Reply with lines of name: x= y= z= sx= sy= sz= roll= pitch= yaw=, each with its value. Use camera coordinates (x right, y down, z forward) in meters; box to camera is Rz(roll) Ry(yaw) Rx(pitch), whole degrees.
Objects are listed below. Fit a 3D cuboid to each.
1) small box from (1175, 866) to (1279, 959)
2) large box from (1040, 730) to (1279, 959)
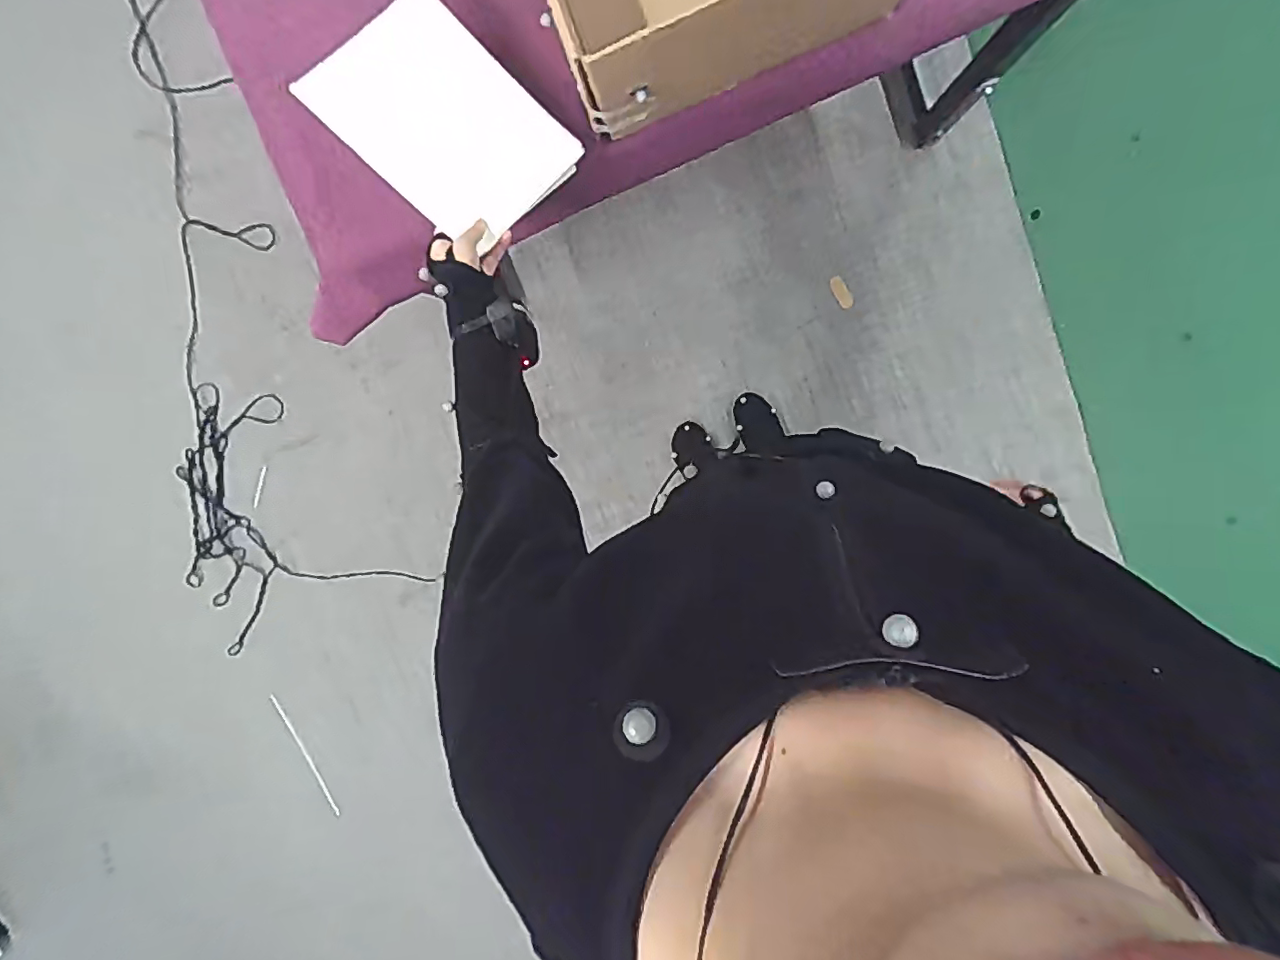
small box: x=1.322 y=0.974 z=1.158 sx=0.168 sy=0.176 sz=0.179 roll=-30 pitch=95 yaw=9
large box: x=1.382 y=0.946 z=1.398 sx=0.408 sy=0.320 sz=0.320 roll=-36 pitch=95 yaw=8
